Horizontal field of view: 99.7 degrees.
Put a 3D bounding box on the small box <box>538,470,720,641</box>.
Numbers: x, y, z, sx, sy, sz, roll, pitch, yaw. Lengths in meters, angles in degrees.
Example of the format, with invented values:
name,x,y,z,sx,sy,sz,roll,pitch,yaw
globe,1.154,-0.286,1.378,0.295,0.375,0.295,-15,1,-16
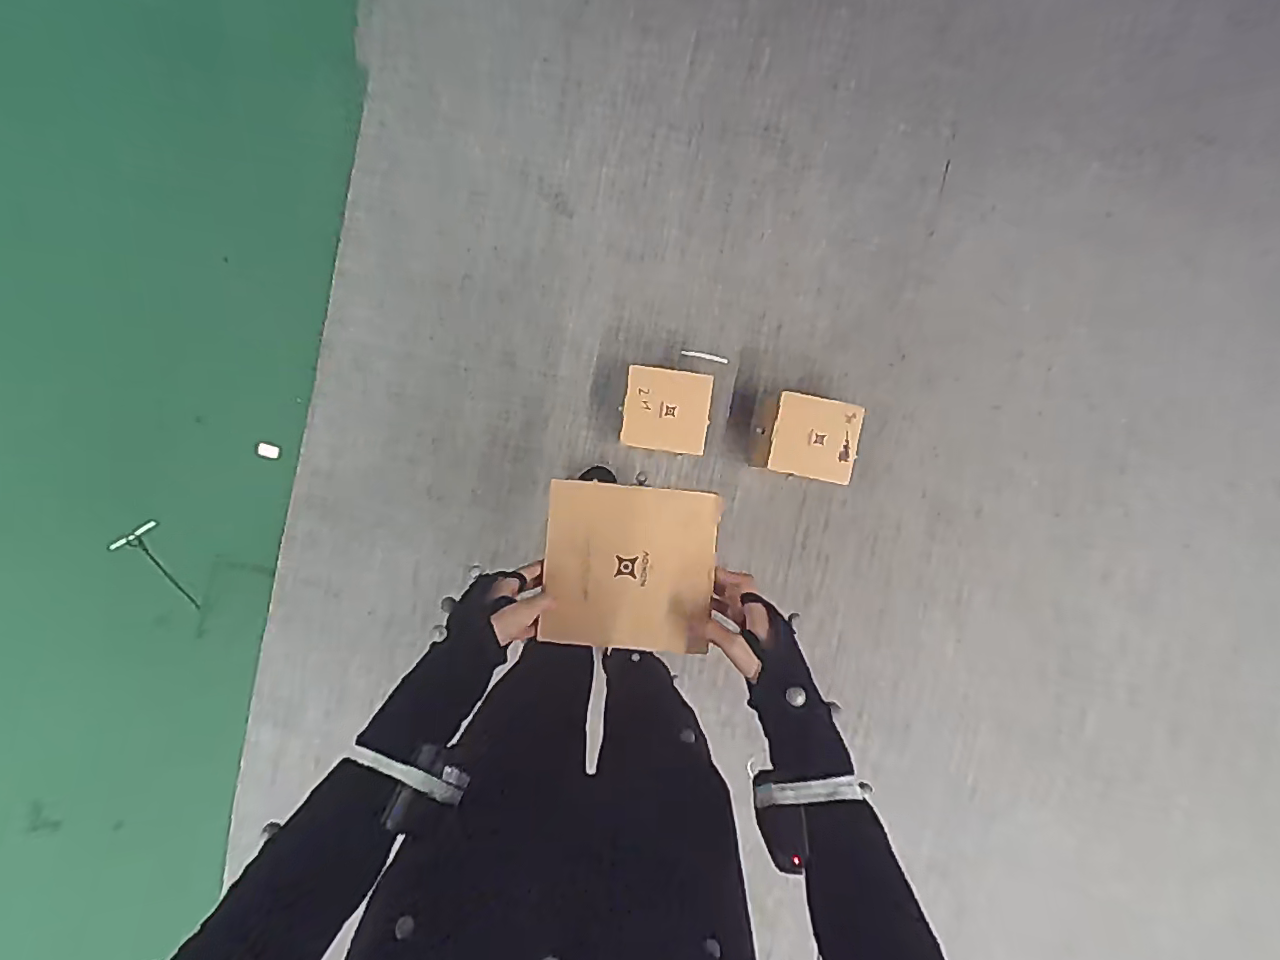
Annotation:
name,x,y,z,sx,sy,sz,roll,pitch,yaw
small box,-0.012,0.079,0.642,0.179,0.176,0.168,6,89,0

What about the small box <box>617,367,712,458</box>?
name,x,y,z,sx,sy,sz,roll,pitch,yaw
small box,0.051,-0.142,1.190,0.179,0.176,0.168,8,92,0
